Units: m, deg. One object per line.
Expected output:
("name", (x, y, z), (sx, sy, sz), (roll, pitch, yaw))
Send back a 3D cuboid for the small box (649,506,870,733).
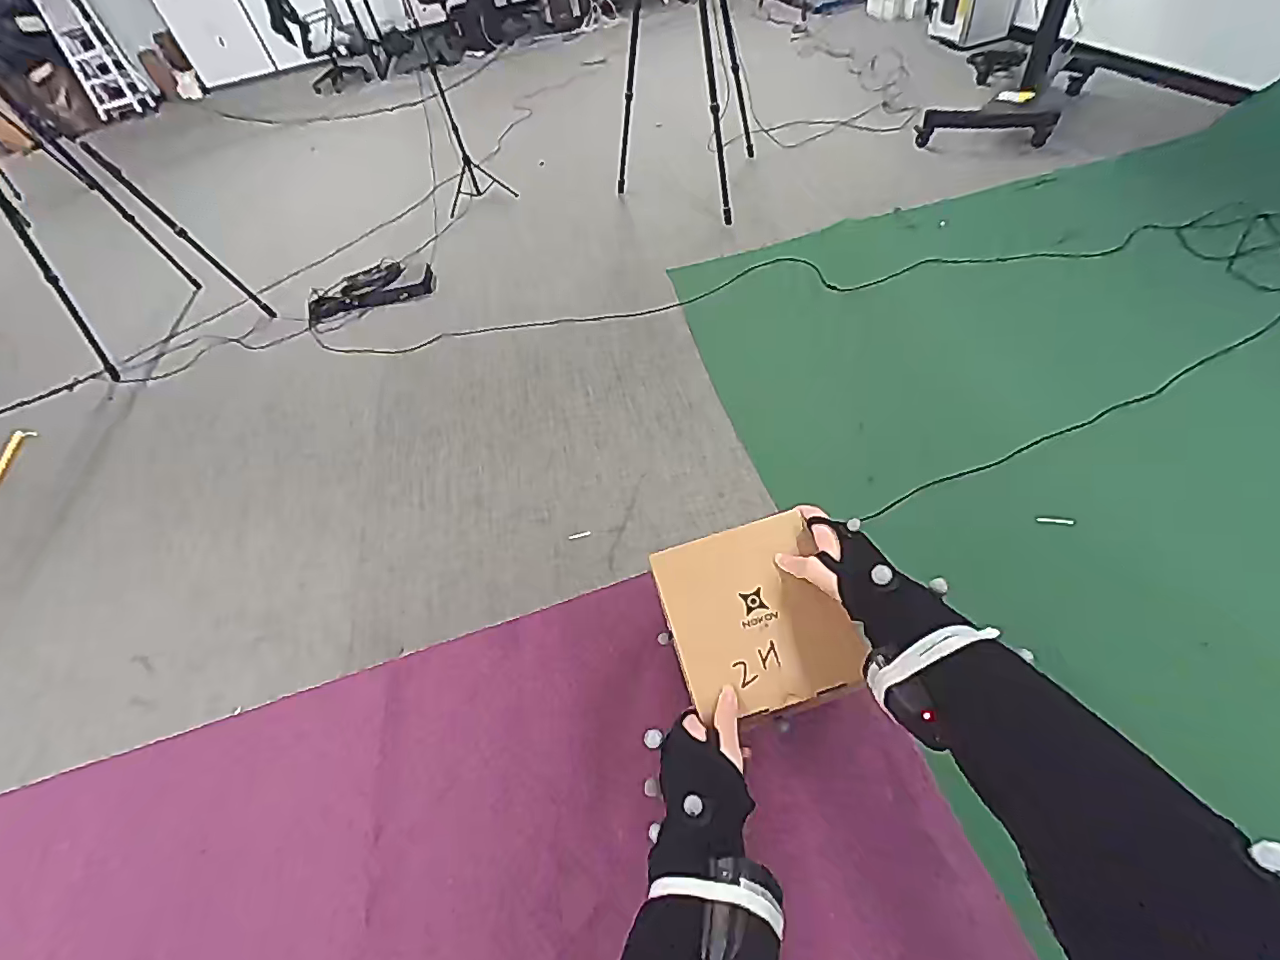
("small box", (0.116, 0.158, 0.589), (0.168, 0.176, 0.179), (-17, 61, -1))
